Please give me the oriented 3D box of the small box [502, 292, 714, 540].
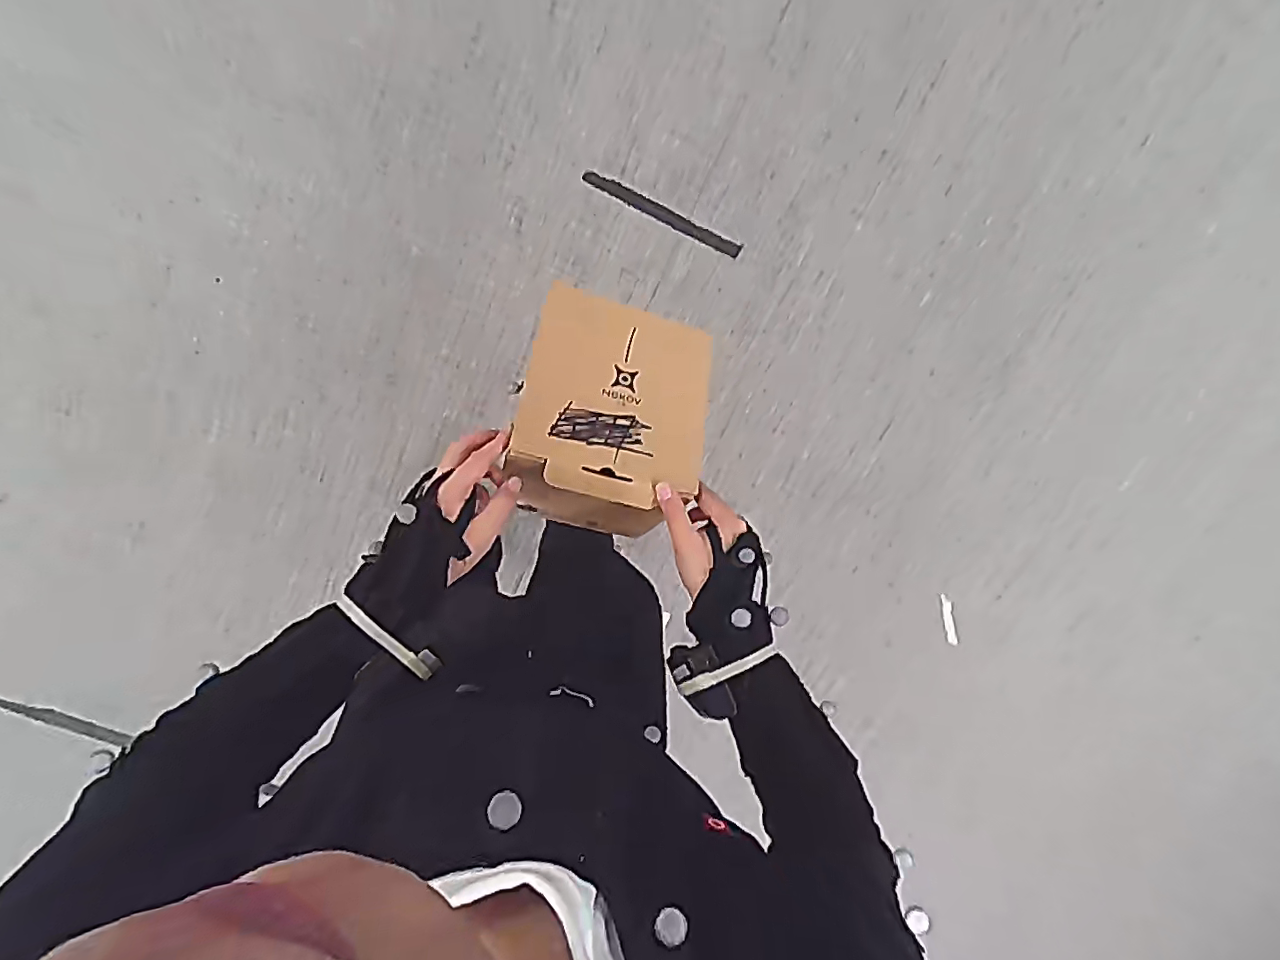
[{"bbox_3d":[-0.040,-0.049,0.552,0.168,0.176,0.179,14,67,-13],"label":"small box"}]
